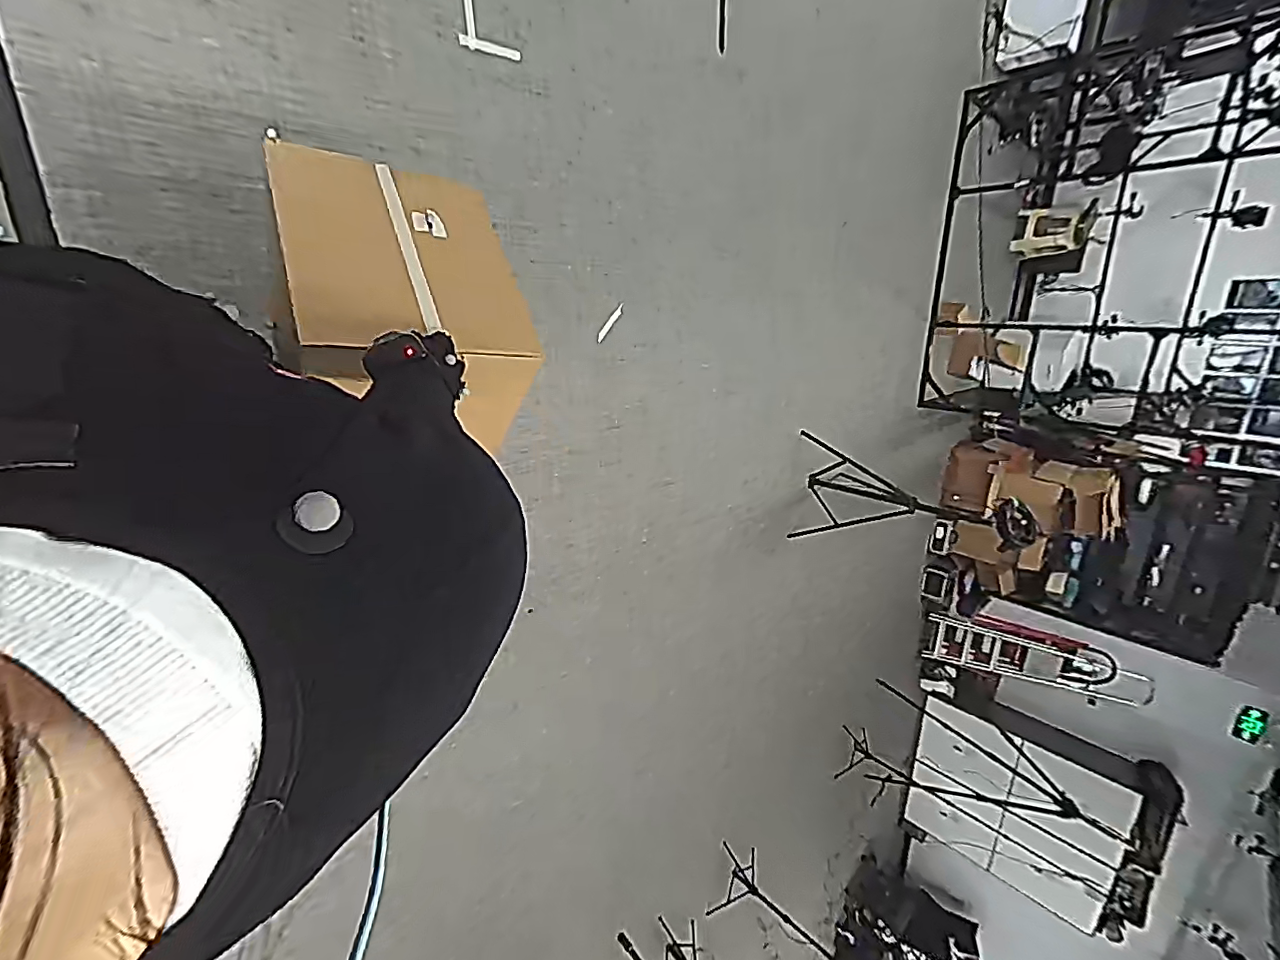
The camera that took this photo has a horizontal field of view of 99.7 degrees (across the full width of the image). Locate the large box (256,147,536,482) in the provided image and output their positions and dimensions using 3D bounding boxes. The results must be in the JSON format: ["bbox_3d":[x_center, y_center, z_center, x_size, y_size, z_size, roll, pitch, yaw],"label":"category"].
[{"bbox_3d":[-0.425,-0.253,0.903,0.320,0.408,0.320,-6,150,-39],"label":"large box"}]
